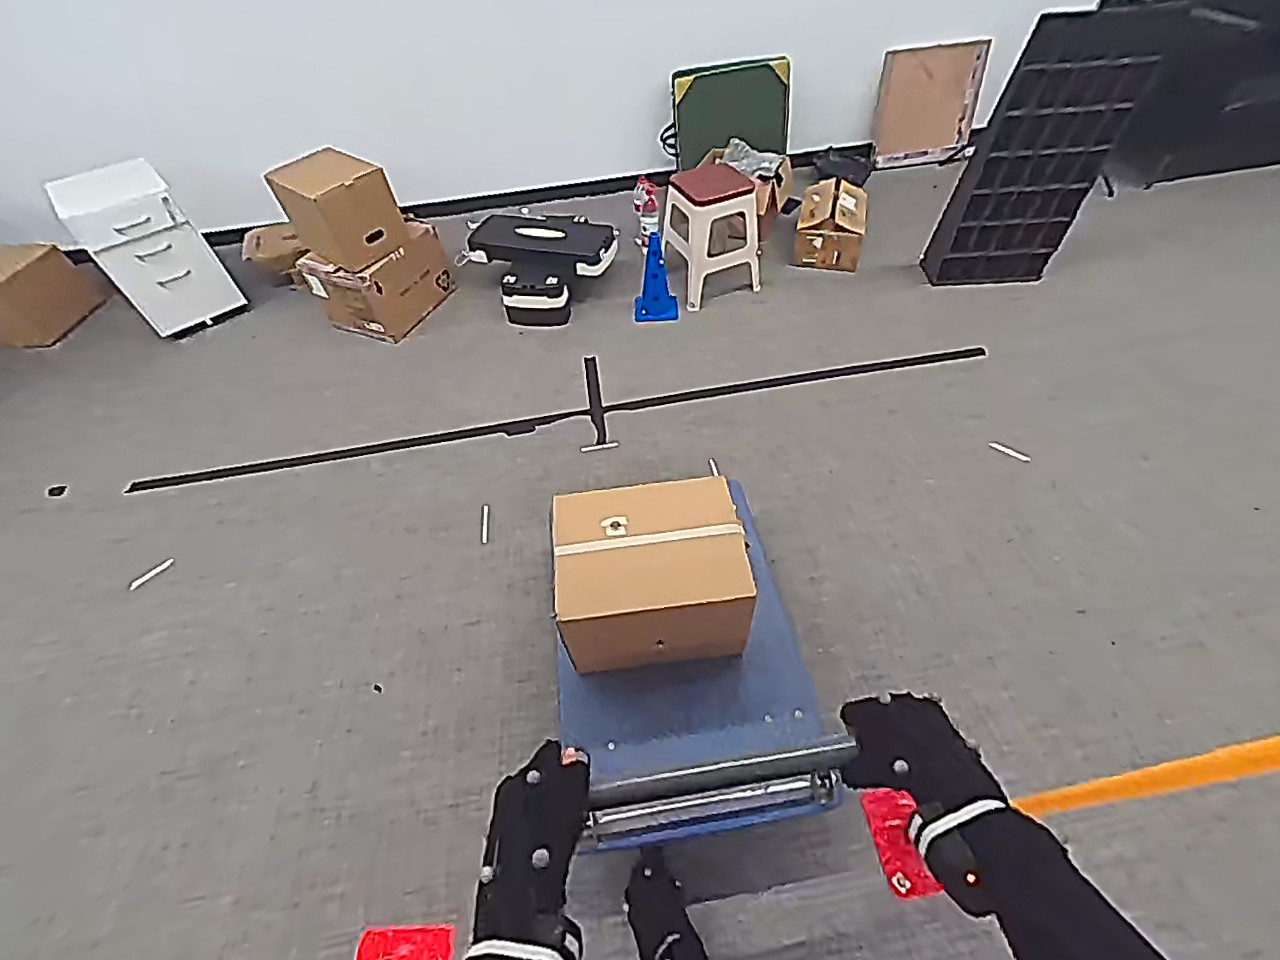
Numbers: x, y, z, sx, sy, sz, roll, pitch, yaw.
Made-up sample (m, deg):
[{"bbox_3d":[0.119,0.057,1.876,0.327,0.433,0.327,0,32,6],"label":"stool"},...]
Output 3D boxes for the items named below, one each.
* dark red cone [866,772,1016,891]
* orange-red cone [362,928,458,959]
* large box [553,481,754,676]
[{"bbox_3d":[0.612,0.656,1.048,0.201,0.394,0.202,-8,51,-4],"label":"dark red cone"},{"bbox_3d":[-0.488,0.918,0.957,0.198,0.360,0.199,-3,49,2],"label":"orange-red cone"},{"bbox_3d":[0.026,0.239,1.279,0.408,0.320,0.320,-8,51,-1],"label":"large box"}]
